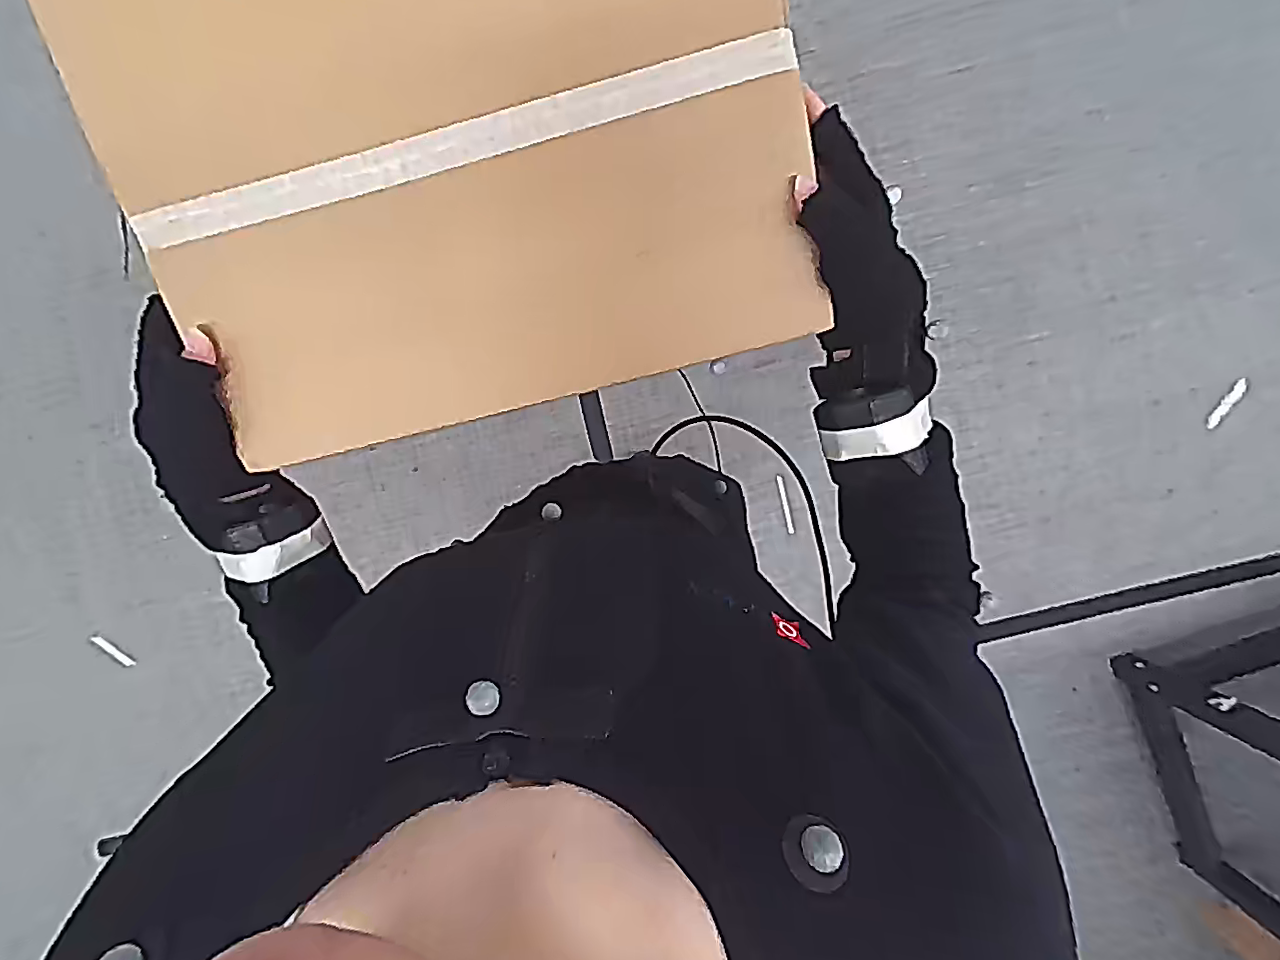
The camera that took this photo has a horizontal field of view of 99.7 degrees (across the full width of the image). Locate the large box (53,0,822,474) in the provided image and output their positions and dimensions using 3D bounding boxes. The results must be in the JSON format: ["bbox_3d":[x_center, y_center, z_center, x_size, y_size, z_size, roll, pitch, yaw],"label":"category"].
[{"bbox_3d":[-0.107,-0.235,0.472,0.408,0.320,0.320,-14,104,4],"label":"large box"}]
